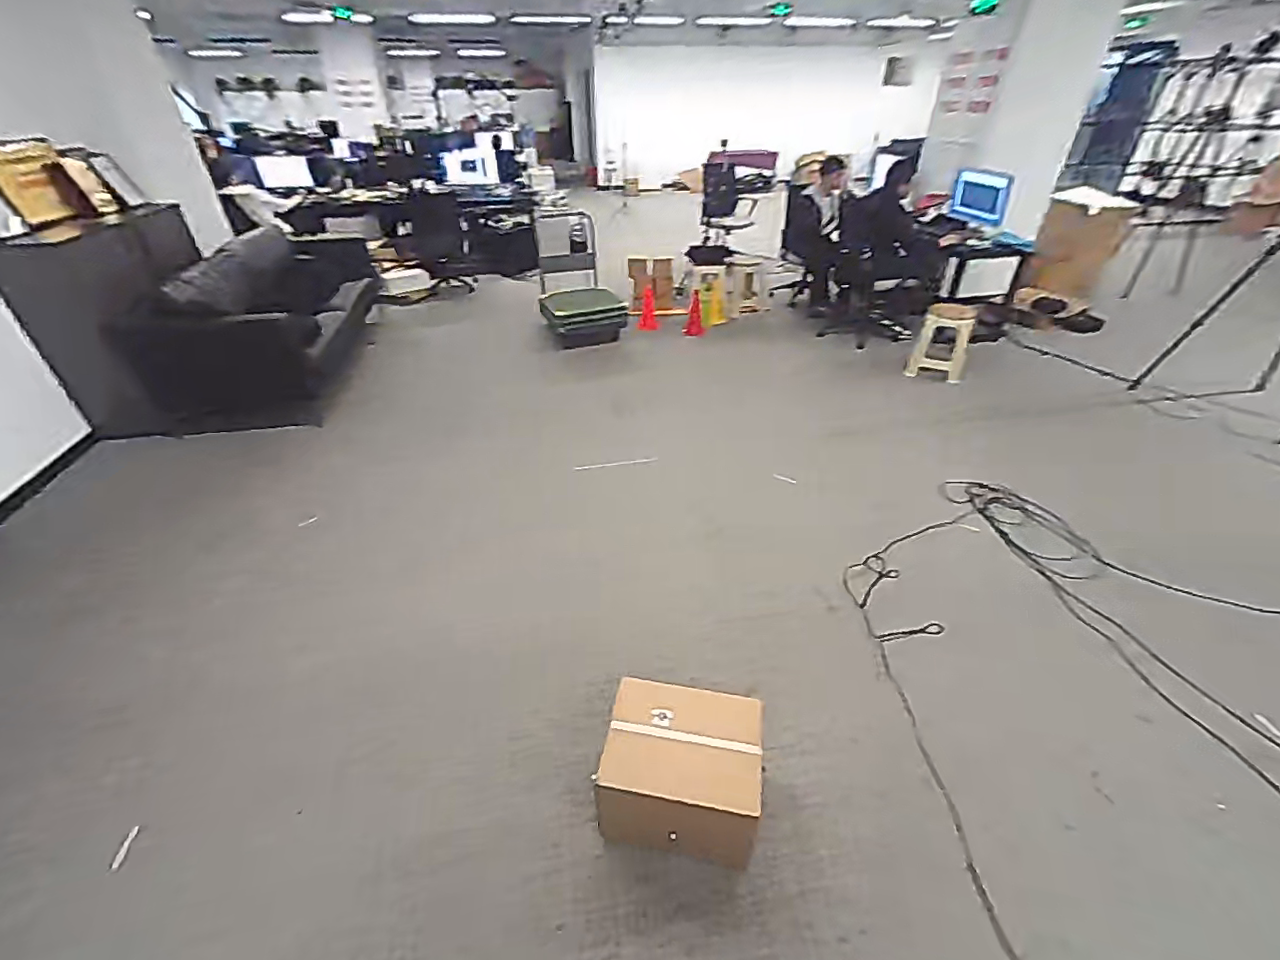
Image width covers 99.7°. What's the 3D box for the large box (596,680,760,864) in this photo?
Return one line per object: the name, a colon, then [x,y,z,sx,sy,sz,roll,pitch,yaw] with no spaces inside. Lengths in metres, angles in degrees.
large box: [0.119,0.805,1.504,0.408,0.320,0.320,5,35,10]
